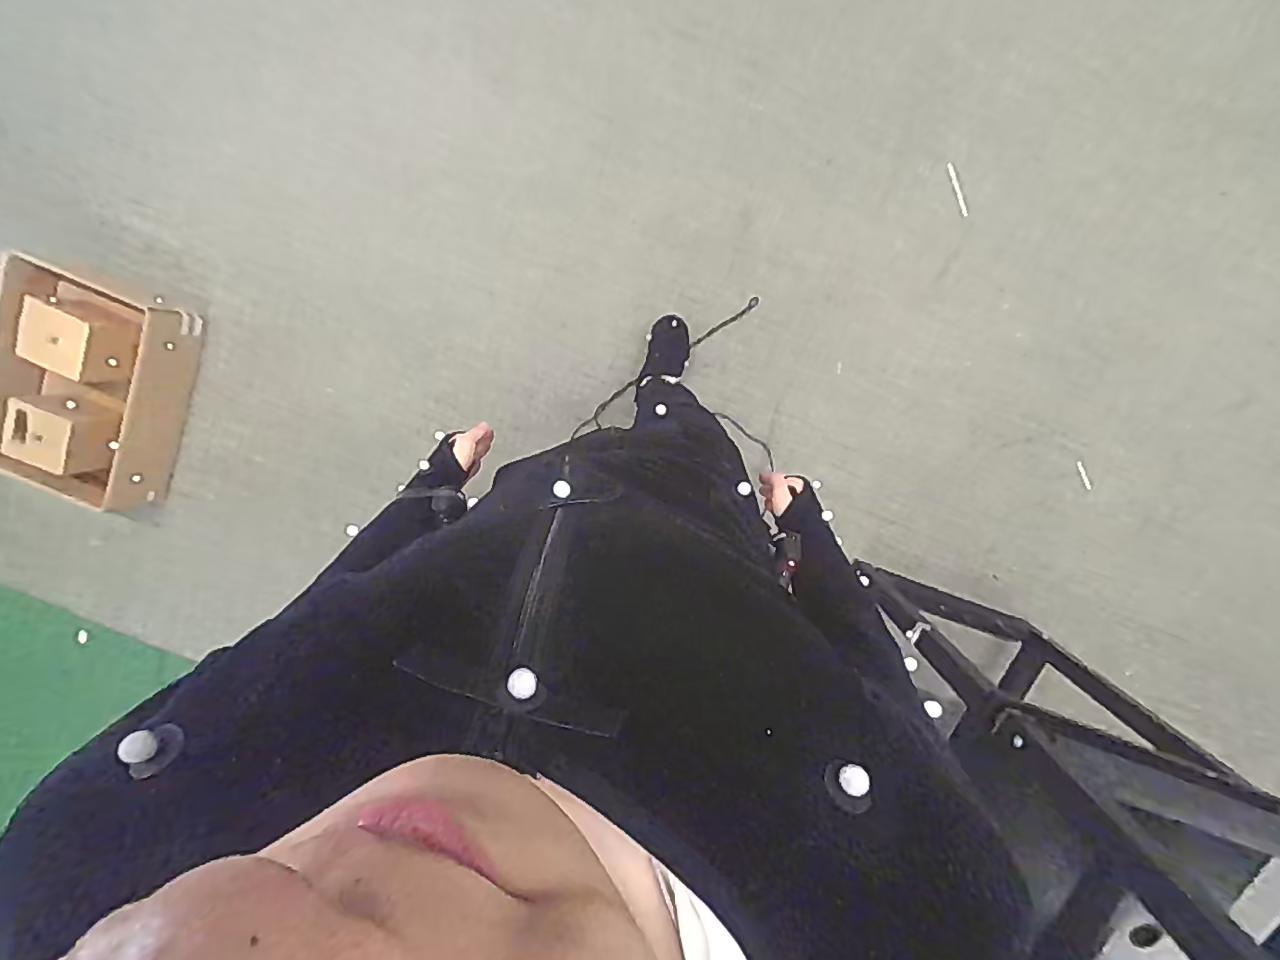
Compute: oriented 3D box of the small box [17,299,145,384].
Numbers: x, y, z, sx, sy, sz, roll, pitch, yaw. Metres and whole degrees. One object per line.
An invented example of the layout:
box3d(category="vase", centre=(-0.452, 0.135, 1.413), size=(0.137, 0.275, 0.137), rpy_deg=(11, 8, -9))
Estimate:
box3d(category="small box", centre=(-1.529, -0.380, 1.489), size=(0.179, 0.176, 0.168), rpy_deg=(24, 103, -2))
